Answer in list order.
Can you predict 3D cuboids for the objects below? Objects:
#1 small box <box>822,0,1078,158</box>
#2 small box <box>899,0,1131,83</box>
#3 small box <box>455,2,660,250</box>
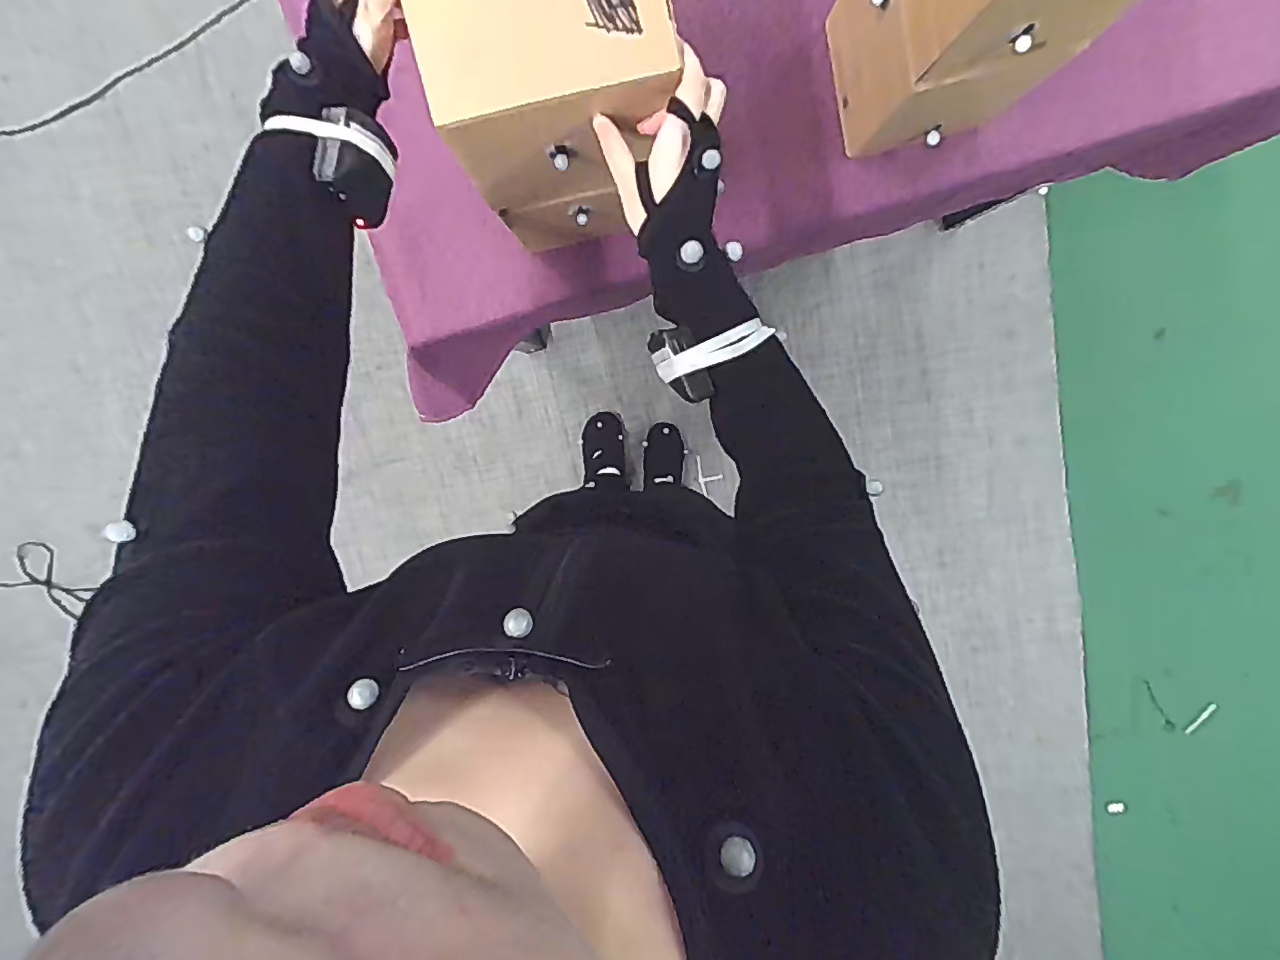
[{"bbox_3d":[0.325,-0.490,0.595,0.179,0.176,0.168,-14,100,2],"label":"small box"},{"bbox_3d":[0.323,-0.470,0.432,0.168,0.176,0.179,-13,101,2],"label":"small box"},{"bbox_3d":[-0.080,-0.376,0.611,0.179,0.176,0.168,-12,101,1],"label":"small box"}]
